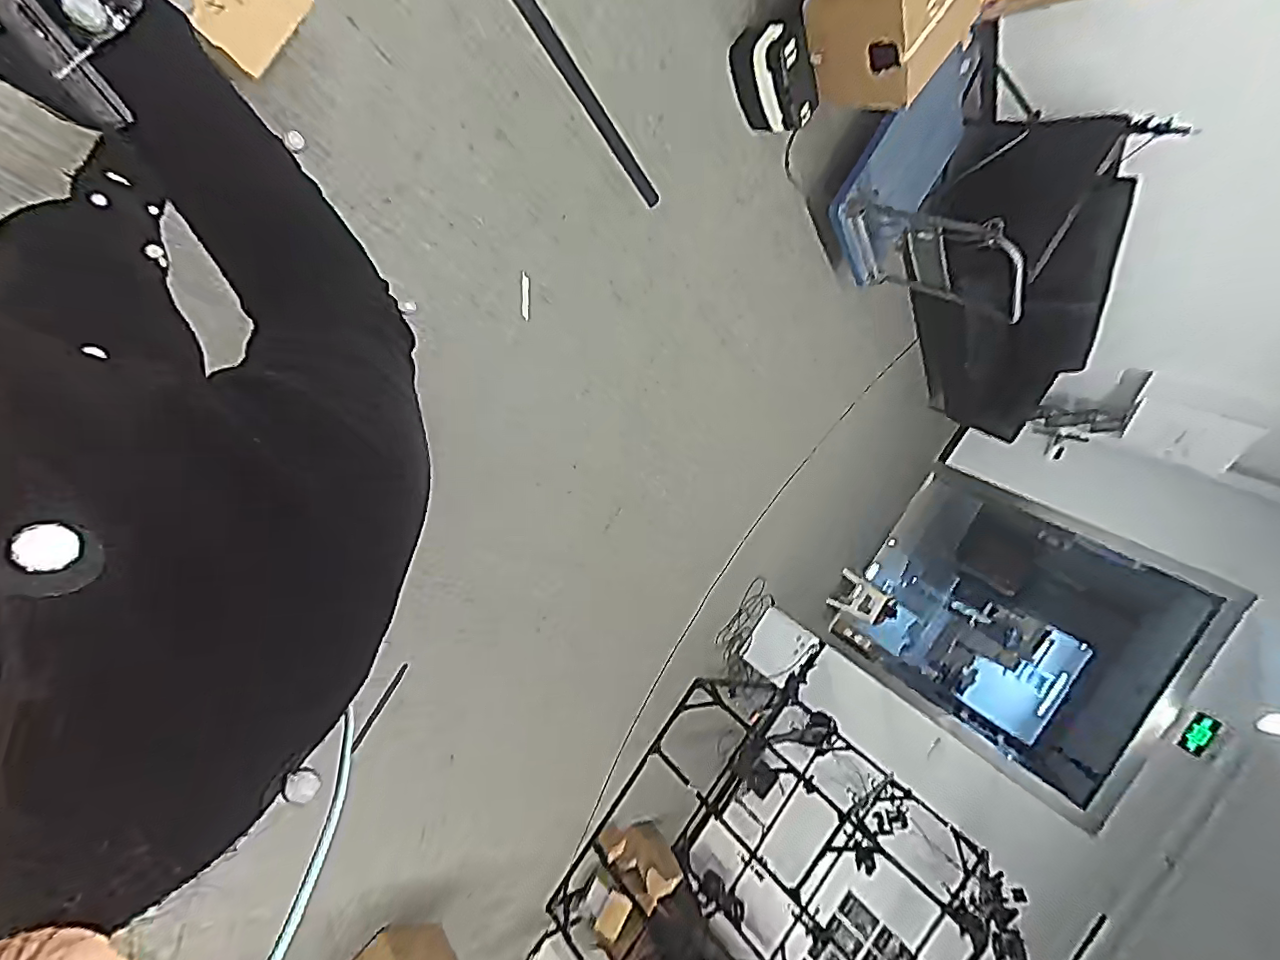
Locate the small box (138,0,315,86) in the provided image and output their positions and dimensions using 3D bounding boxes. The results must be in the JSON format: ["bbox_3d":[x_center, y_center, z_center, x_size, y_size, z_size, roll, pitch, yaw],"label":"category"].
[{"bbox_3d":[-0.688,-0.797,0.893,0.179,0.176,0.168,-55,143,-2],"label":"small box"}]
